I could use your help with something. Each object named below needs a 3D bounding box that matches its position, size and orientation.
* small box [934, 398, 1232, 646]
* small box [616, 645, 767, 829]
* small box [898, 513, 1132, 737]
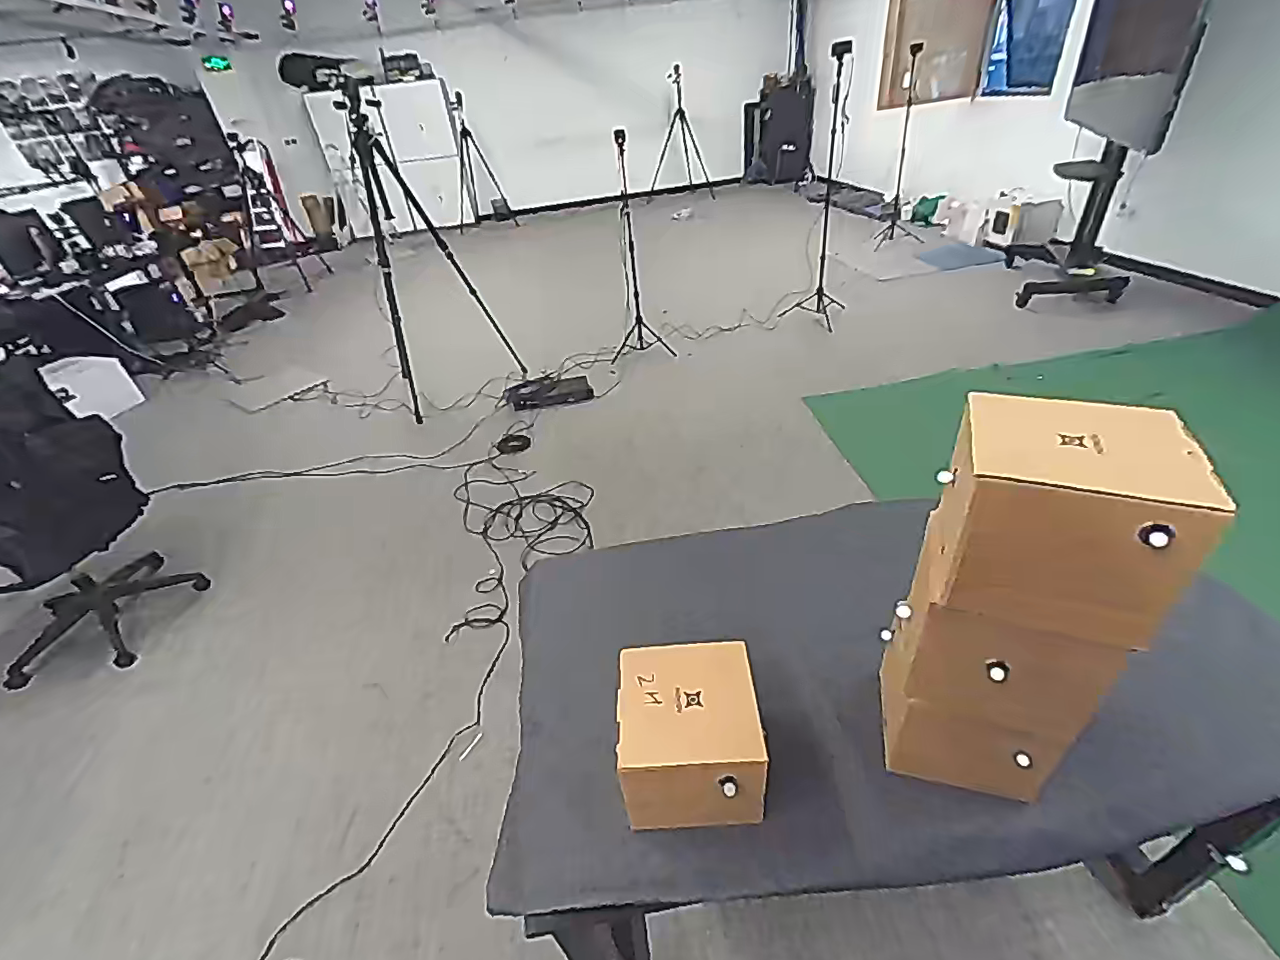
[{"bbox_3d":[0.402,0.036,0.534,0.179,0.176,0.168,10,38,23],"label":"small box"},{"bbox_3d":[0.066,0.345,0.727,0.179,0.176,0.168,-5,36,3],"label":"small box"},{"bbox_3d":[0.415,0.166,0.630,0.179,0.176,0.168,10,38,24],"label":"small box"}]
